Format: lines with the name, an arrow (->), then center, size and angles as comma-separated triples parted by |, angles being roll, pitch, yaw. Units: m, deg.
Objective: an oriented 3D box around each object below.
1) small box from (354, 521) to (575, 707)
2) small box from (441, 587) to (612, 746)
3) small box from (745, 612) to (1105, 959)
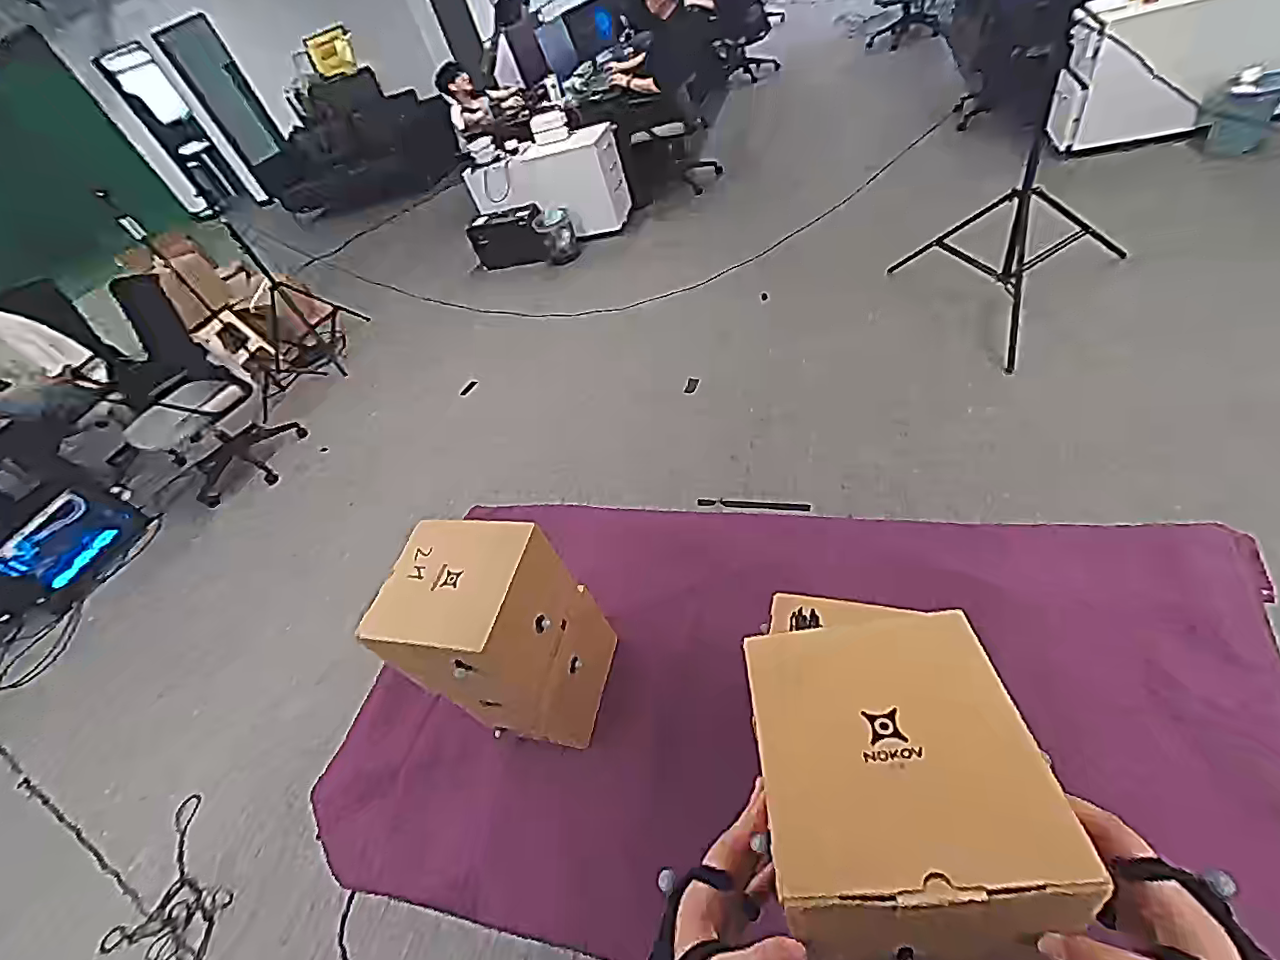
small box -> -0.201, 0.169, 0.680 | 0.179, 0.176, 0.168 | 0, 48, 20
small box -> -0.155, 0.272, 0.801 | 0.168, 0.176, 0.179 | 0, 48, 20
small box -> 0.176, 0.226, 0.397 | 0.168, 0.176, 0.179 | -10, 36, 10
